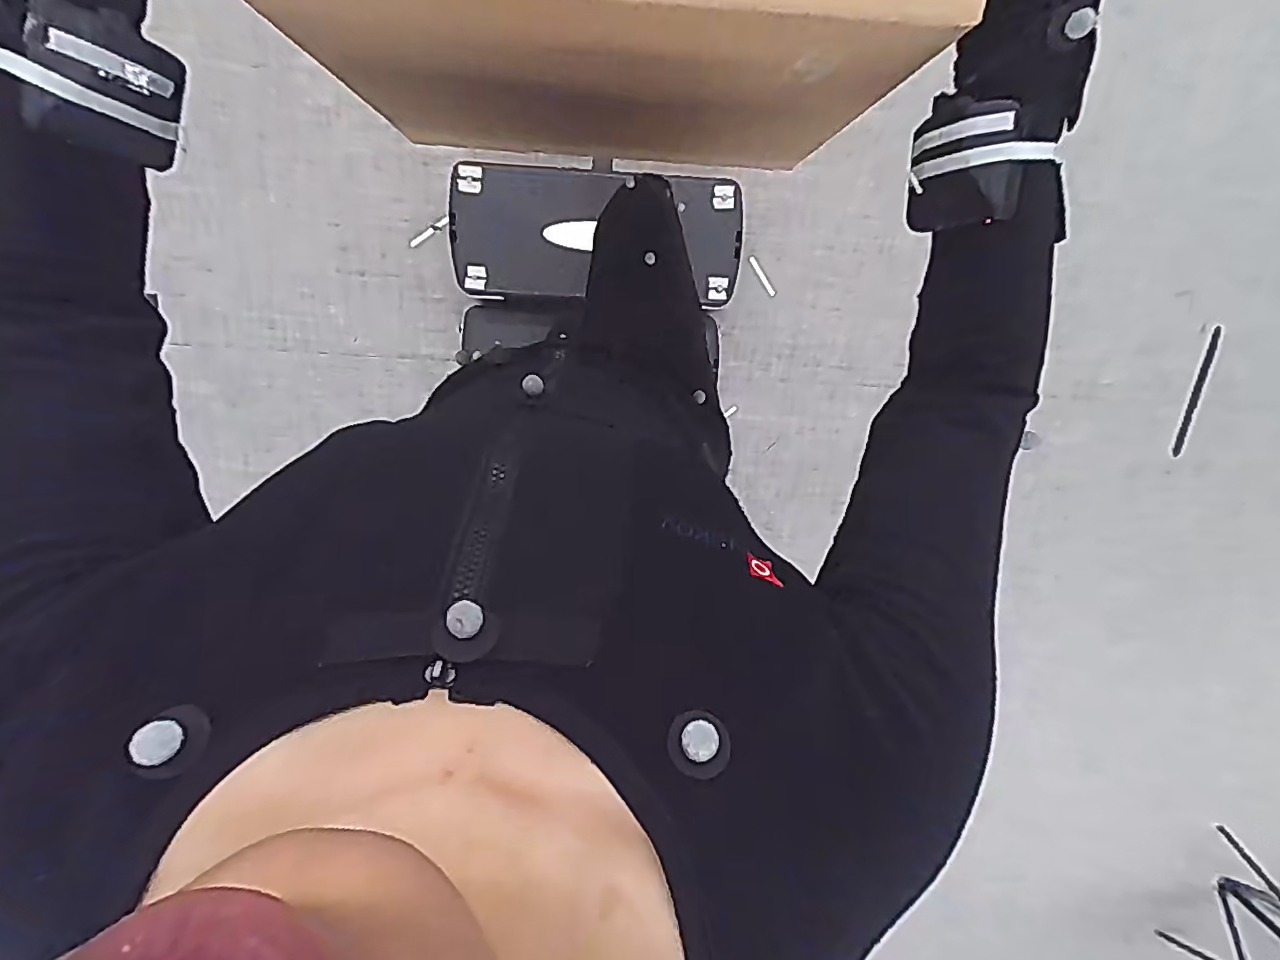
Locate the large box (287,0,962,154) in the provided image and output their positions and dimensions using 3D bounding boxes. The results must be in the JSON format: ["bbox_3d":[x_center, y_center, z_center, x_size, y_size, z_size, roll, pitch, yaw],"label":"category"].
[{"bbox_3d":[-0.019,-0.455,0.387,0.408,0.320,0.320,1,108,-4],"label":"large box"}]

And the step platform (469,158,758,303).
[{"bbox_3d":[-0.061,-0.594,1.319,0.684,0.204,0.286,1,107,-5],"label":"step platform"}]
